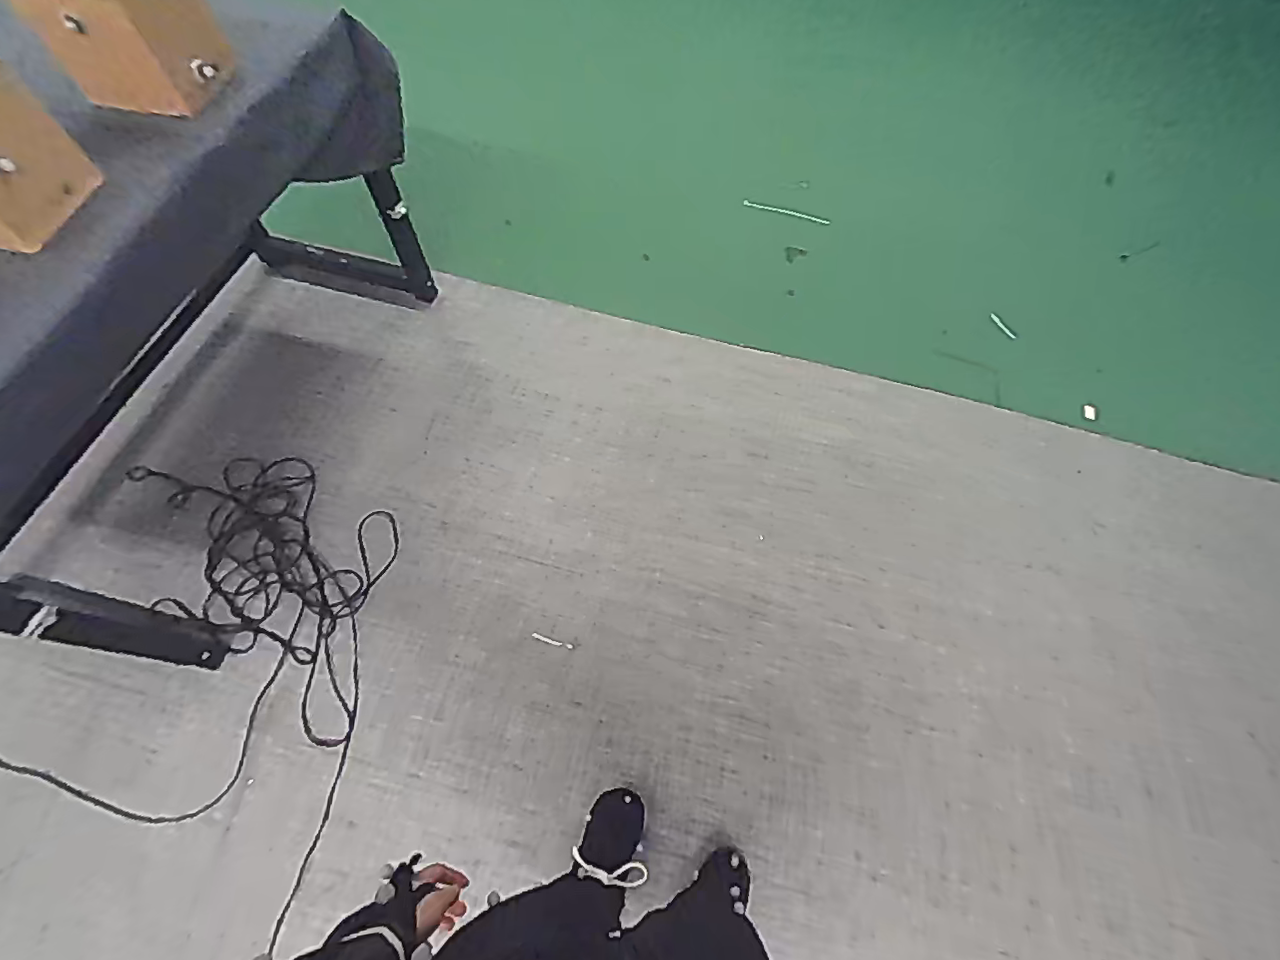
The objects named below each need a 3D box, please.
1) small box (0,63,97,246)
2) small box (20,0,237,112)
[{"bbox_3d":[-0.886,-0.432,0.698,0.179,0.176,0.168,9,64,1],"label":"small box"},{"bbox_3d":[-0.790,-0.709,0.839,0.179,0.176,0.168,8,65,0],"label":"small box"}]
